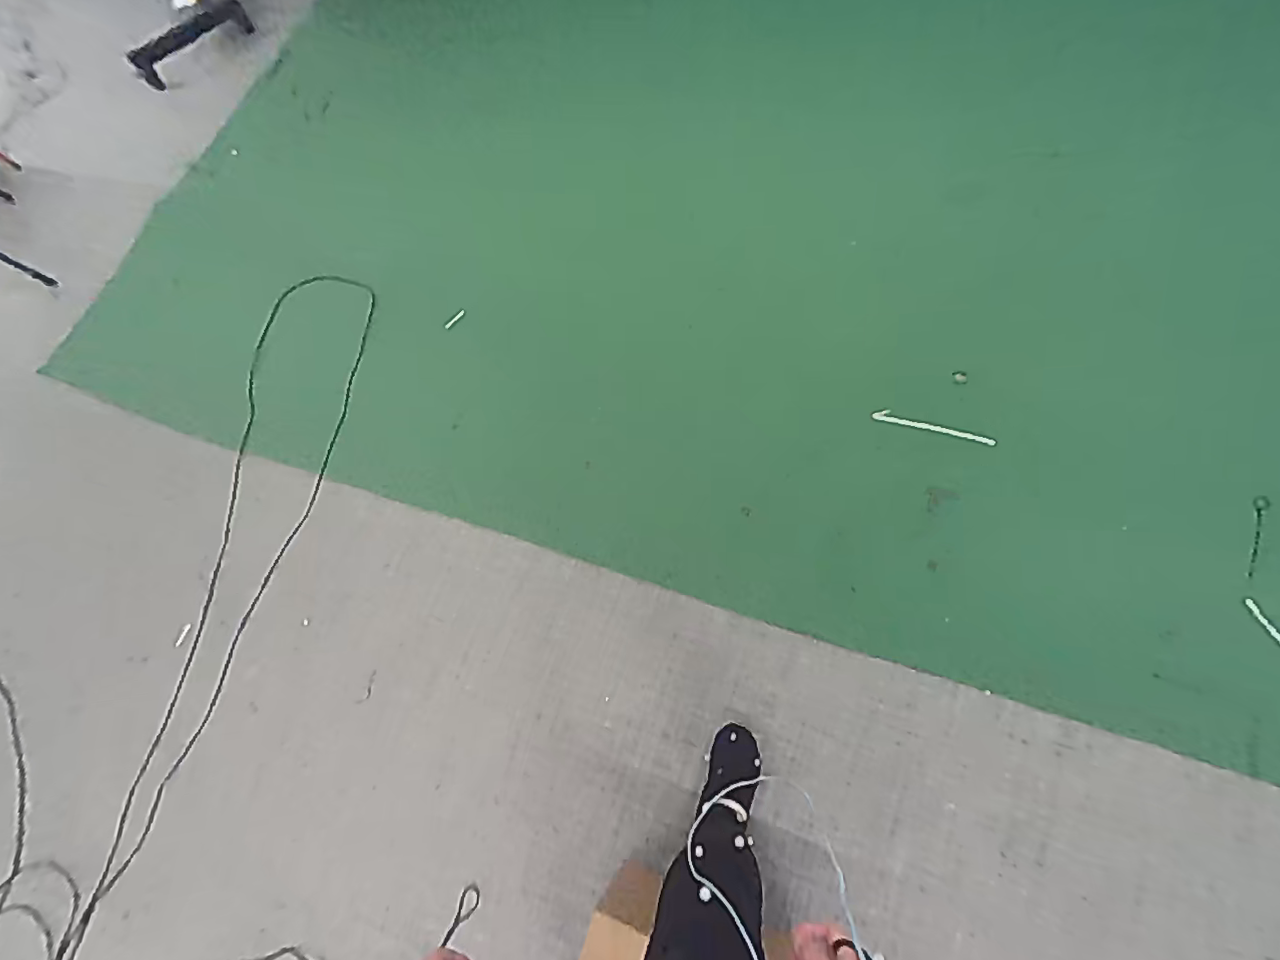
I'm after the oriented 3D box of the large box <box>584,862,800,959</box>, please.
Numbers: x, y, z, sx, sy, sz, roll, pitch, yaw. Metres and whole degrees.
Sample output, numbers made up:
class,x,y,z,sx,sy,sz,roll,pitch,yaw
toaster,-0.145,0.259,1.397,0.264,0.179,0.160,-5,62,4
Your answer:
class,x,y,z,sx,sy,sz,roll,pitch,yaw
large box,0.088,1.046,1.082,0.408,0.320,0.320,13,73,14
